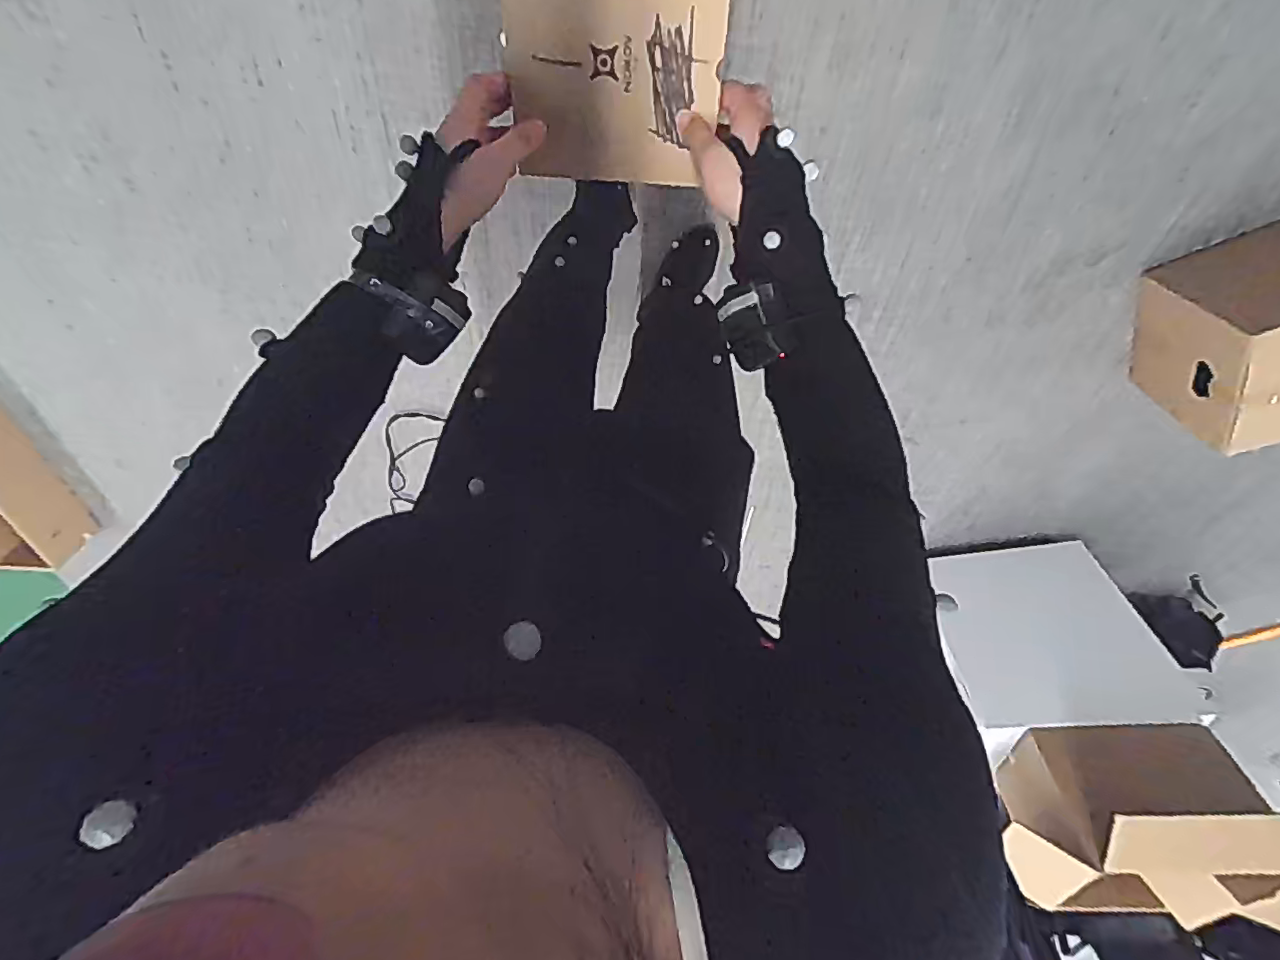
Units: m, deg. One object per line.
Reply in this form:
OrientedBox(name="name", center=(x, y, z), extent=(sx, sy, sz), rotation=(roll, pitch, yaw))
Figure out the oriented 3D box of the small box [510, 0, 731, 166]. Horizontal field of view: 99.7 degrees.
OrientedBox(name="small box", center=(-0.022, -0.405, 0.498), extent=(0.179, 0.176, 0.168), rotation=(-1, 132, -5))
